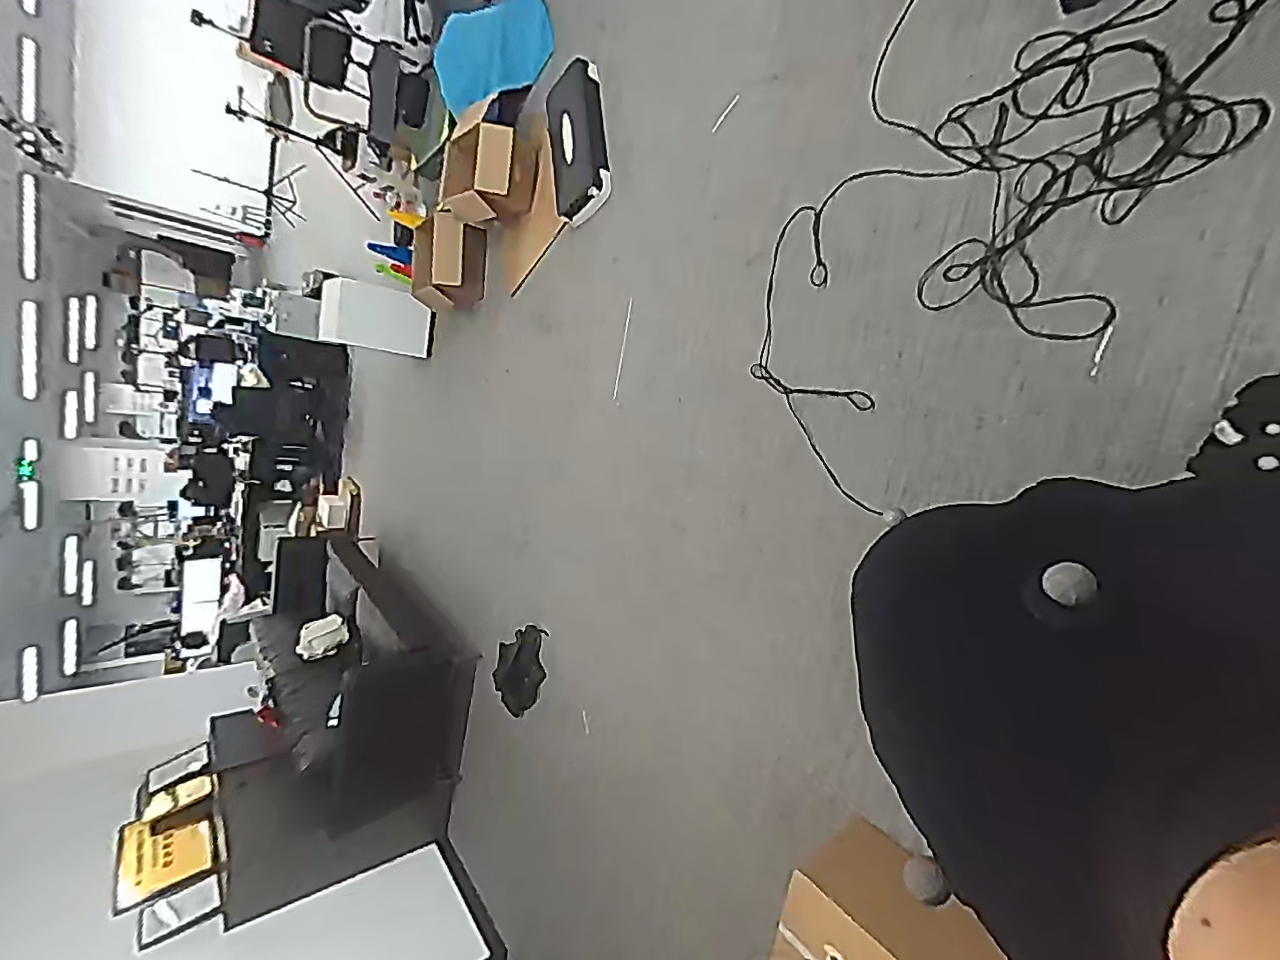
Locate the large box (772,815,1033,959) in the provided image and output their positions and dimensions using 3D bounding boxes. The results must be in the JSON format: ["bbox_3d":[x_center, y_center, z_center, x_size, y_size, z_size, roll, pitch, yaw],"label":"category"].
[{"bbox_3d":[0.575,1.071,1.215,0.408,0.320,0.320,22,104,48],"label":"large box"}]
